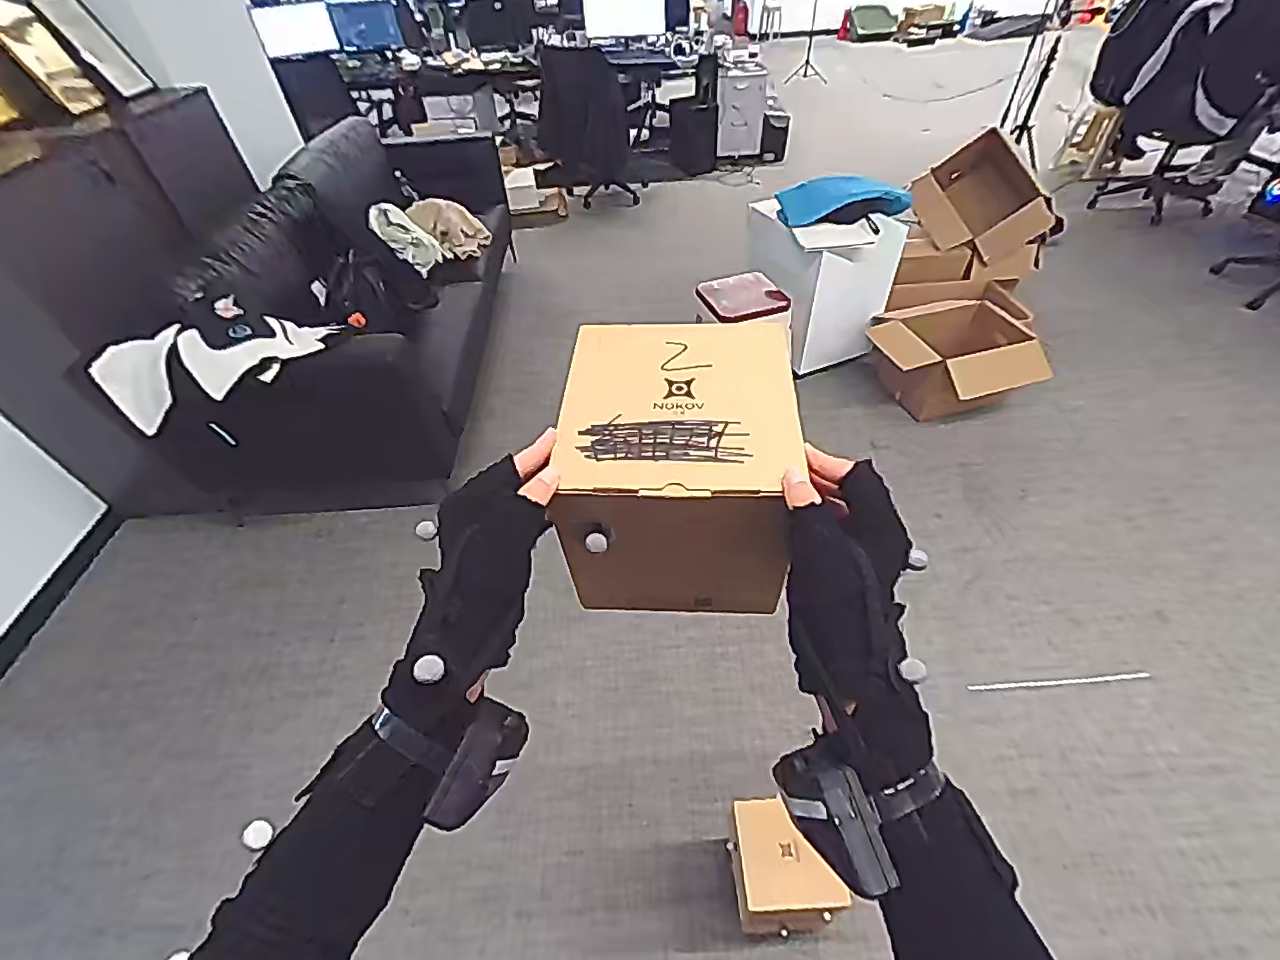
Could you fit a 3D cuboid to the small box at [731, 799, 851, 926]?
[{"bbox_3d":[0.267,0.714,1.008,0.179,0.176,0.168,-4,45,0],"label":"small box"}]
